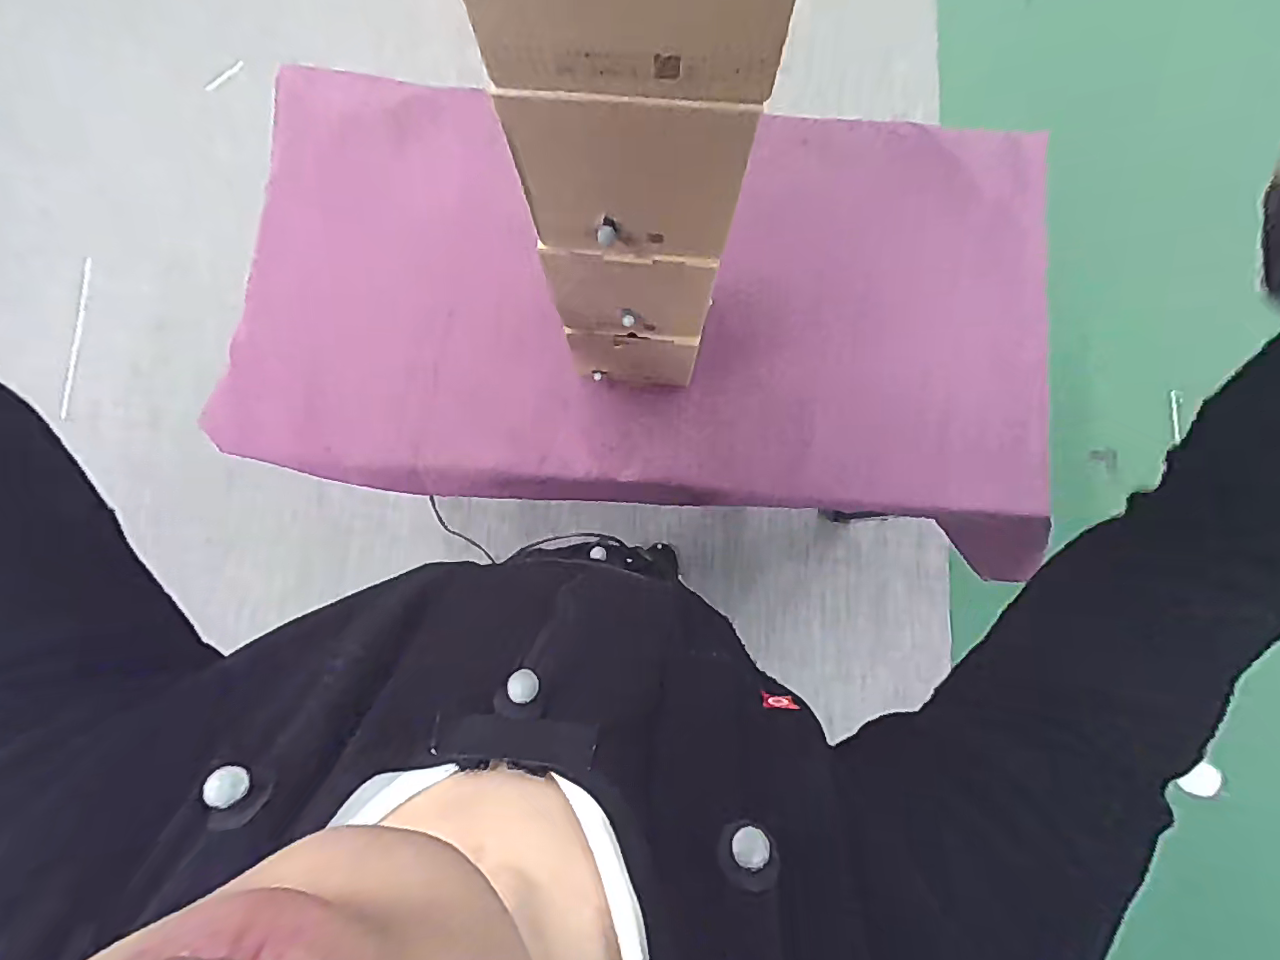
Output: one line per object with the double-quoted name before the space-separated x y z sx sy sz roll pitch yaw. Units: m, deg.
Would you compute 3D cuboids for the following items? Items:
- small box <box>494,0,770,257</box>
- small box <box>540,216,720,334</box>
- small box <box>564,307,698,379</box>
"small box" 0.000 -0.303 0.415 0.168 0.176 0.179 5 83 1
"small box" -0.002 -0.277 0.576 0.168 0.176 0.179 5 83 1
"small box" -0.001 -0.248 0.737 0.168 0.176 0.179 6 82 1
